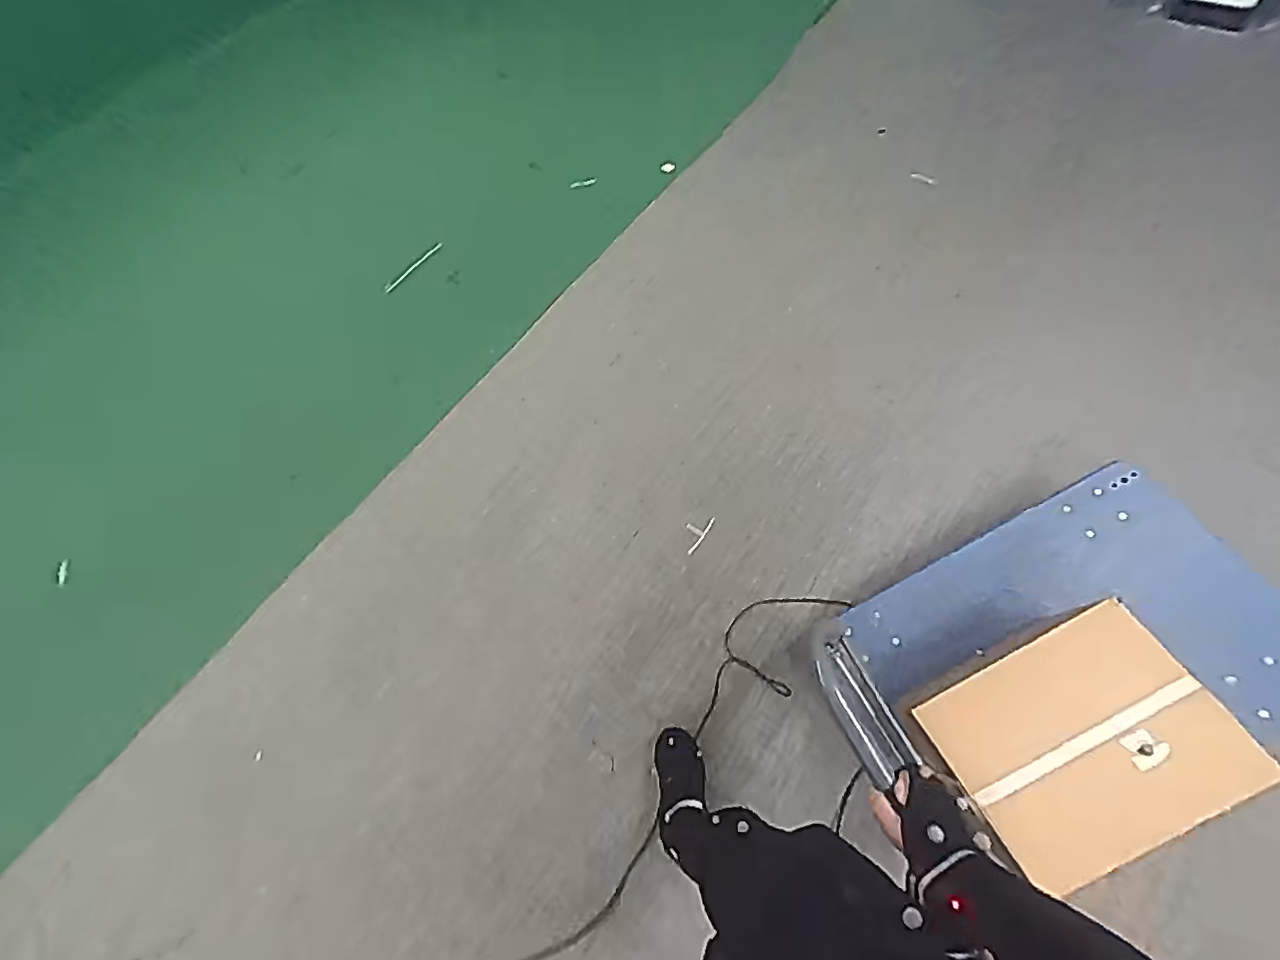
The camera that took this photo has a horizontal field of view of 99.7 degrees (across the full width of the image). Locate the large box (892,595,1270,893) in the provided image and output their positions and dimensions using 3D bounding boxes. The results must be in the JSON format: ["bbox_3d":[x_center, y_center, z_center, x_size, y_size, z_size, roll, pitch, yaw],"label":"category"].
[{"bbox_3d":[0.765,0.478,1.029,0.408,0.320,0.320,-32,64,3],"label":"large box"}]
